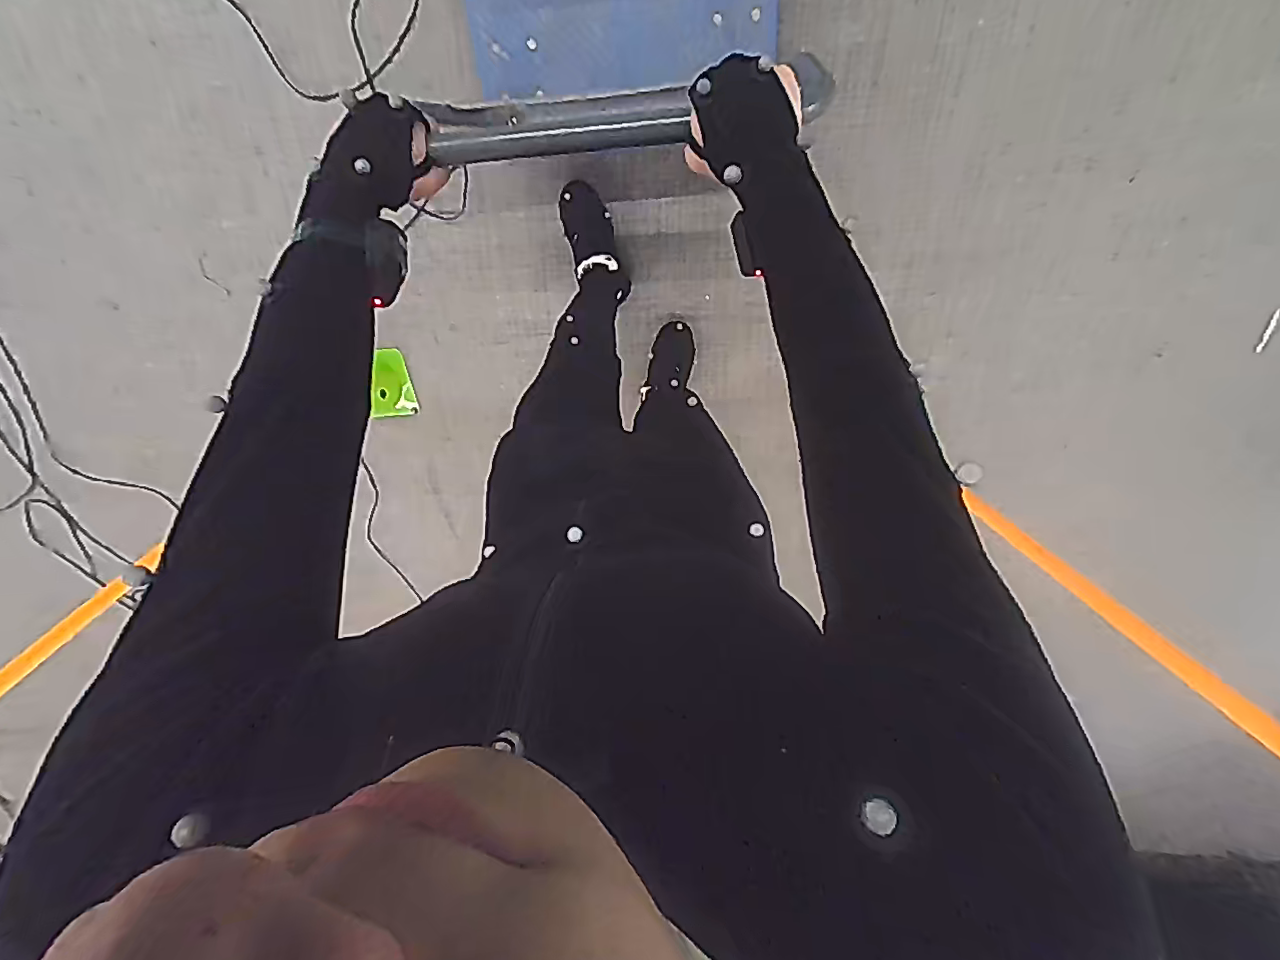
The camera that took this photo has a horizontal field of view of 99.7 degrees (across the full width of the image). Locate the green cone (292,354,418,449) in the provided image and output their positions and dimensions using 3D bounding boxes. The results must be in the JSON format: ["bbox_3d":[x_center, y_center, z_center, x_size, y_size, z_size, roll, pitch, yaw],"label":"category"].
[{"bbox_3d":[-0.779,-0.182,1.427,0.202,0.368,0.200,-4,119,8],"label":"green cone"}]
